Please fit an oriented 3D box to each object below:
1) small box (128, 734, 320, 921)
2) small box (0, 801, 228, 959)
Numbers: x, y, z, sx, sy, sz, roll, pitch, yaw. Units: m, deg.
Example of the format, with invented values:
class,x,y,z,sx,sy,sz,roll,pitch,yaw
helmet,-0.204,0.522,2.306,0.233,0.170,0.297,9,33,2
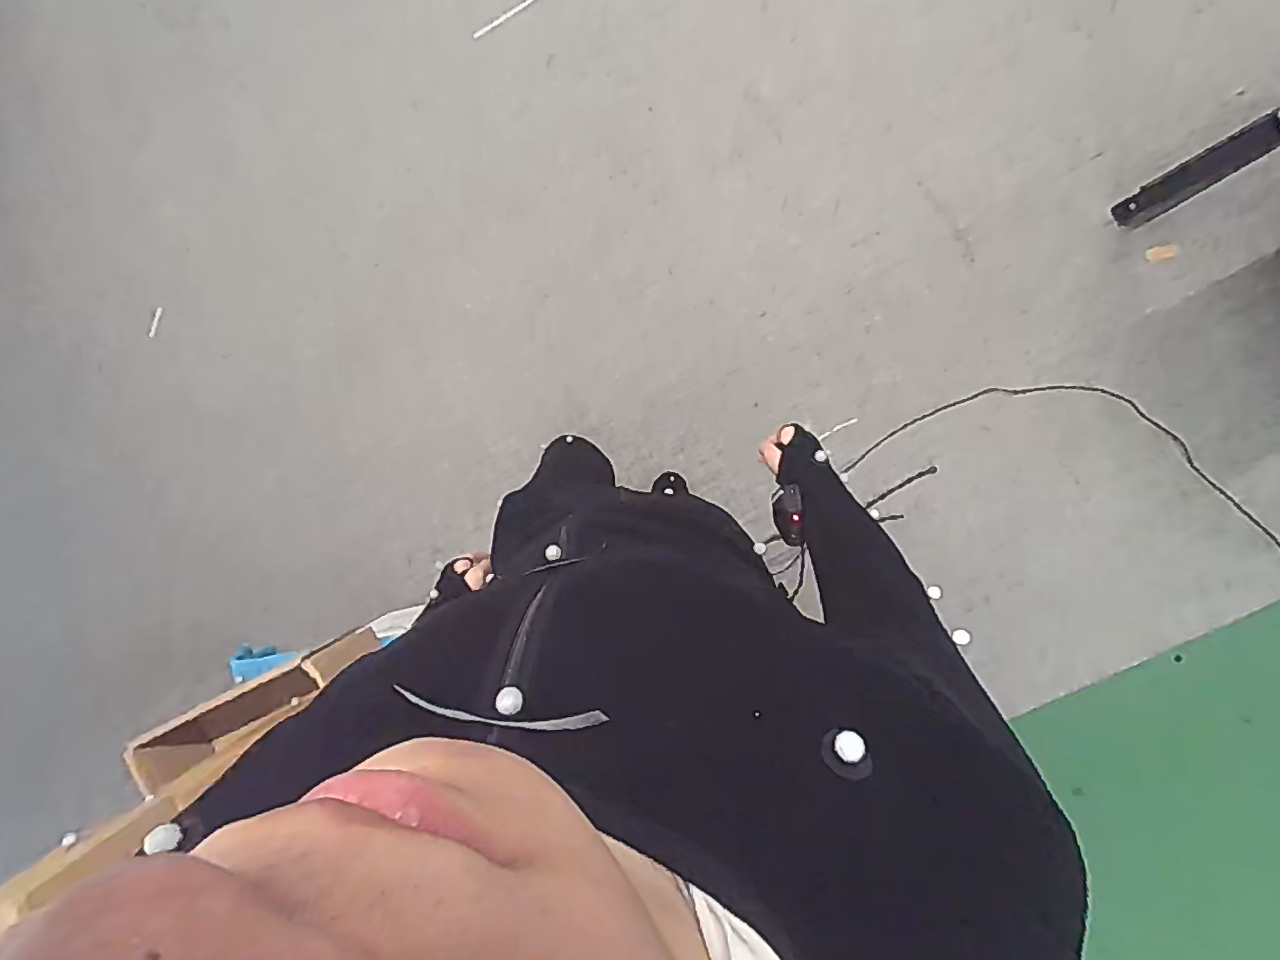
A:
class,x,y,z,sx,sy,sz,roll,pitch,yaw
small box,-0.625,0.523,0.803,0.168,0.176,0.179,-28,93,6
small box,-0.649,0.533,0.640,0.168,0.176,0.179,-26,91,6
